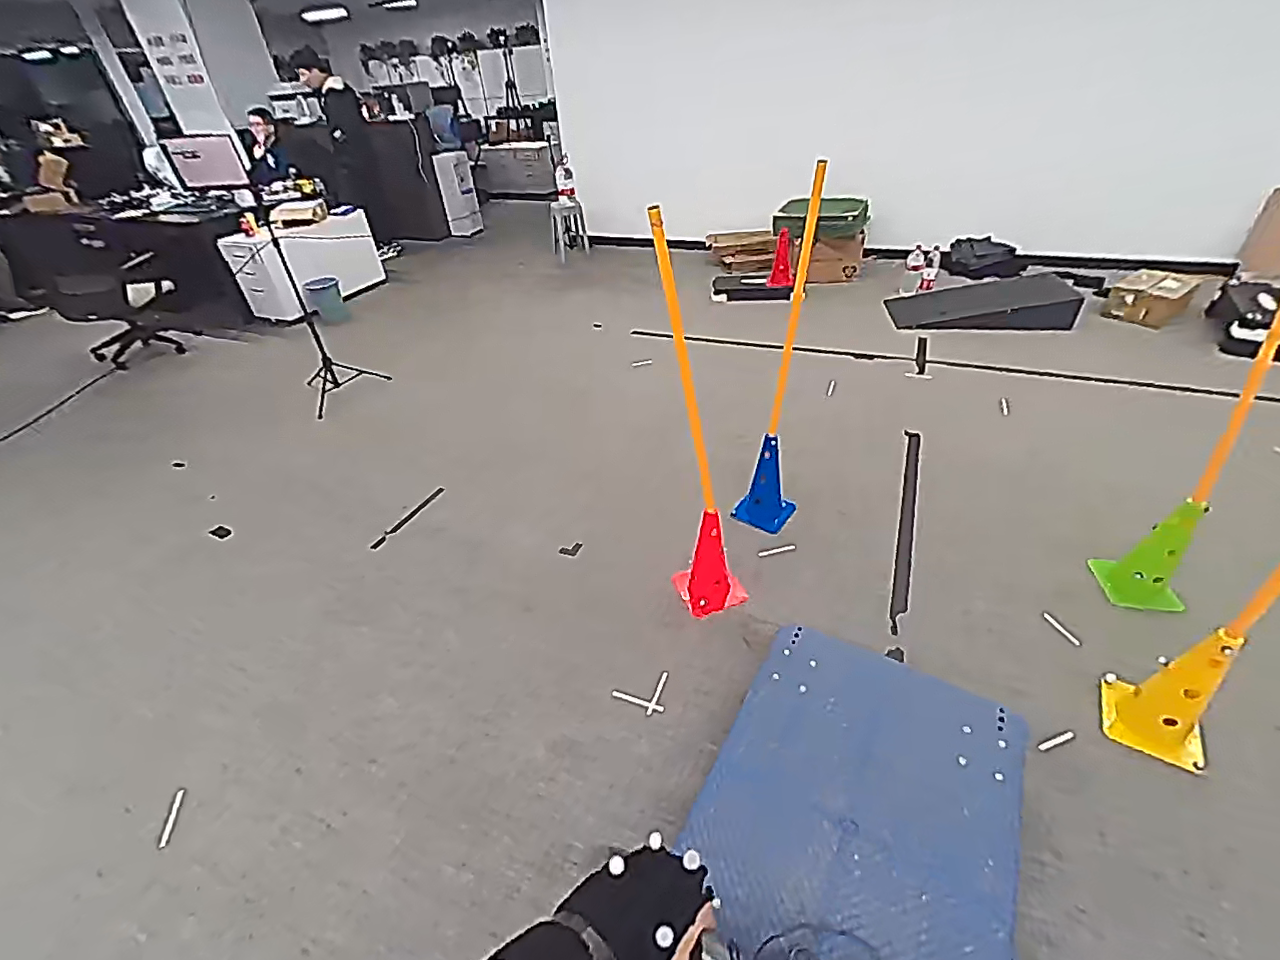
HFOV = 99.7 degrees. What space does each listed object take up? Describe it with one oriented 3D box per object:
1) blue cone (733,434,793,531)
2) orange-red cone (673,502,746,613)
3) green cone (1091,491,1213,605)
[{"bbox_3d":[0.468,-0.013,1.998,0.193,0.380,0.192,23,46,31],"label":"blue cone"},{"bbox_3d":[0.223,0.214,1.706,0.199,0.360,0.198,-15,40,-16],"label":"orange-red cone"},{"bbox_3d":[1.568,0.179,1.610,0.200,0.368,0.202,3,40,10],"label":"green cone"}]
